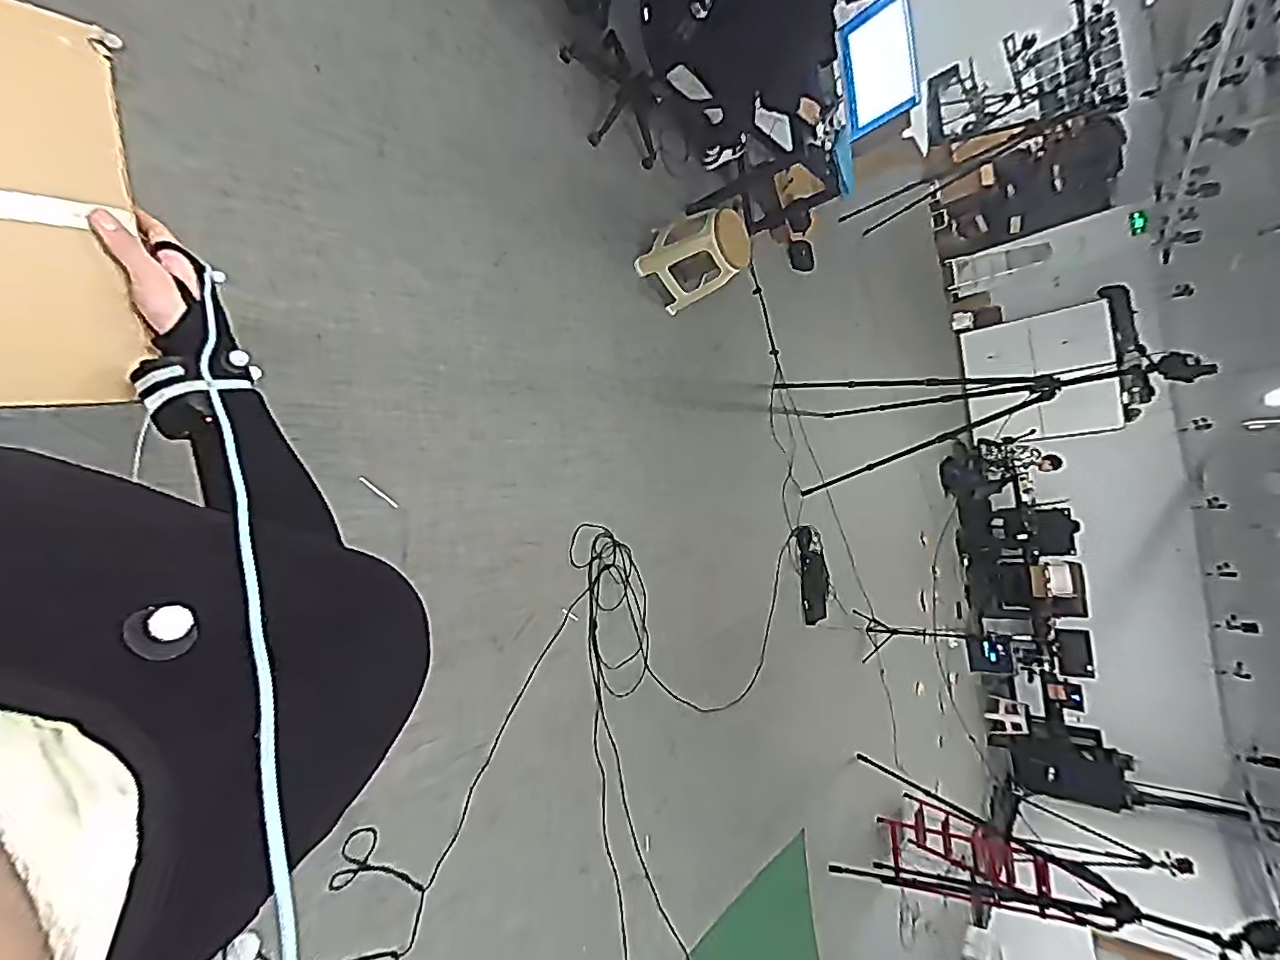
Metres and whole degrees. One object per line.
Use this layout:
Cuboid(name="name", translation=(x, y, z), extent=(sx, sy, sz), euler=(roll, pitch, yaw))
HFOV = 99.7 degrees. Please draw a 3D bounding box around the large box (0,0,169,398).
Cuboid(name="large box", translation=(-0.701, -0.219, 0.443), extent=(0.408, 0.320, 0.320), euler=(-14, 107, -48))
